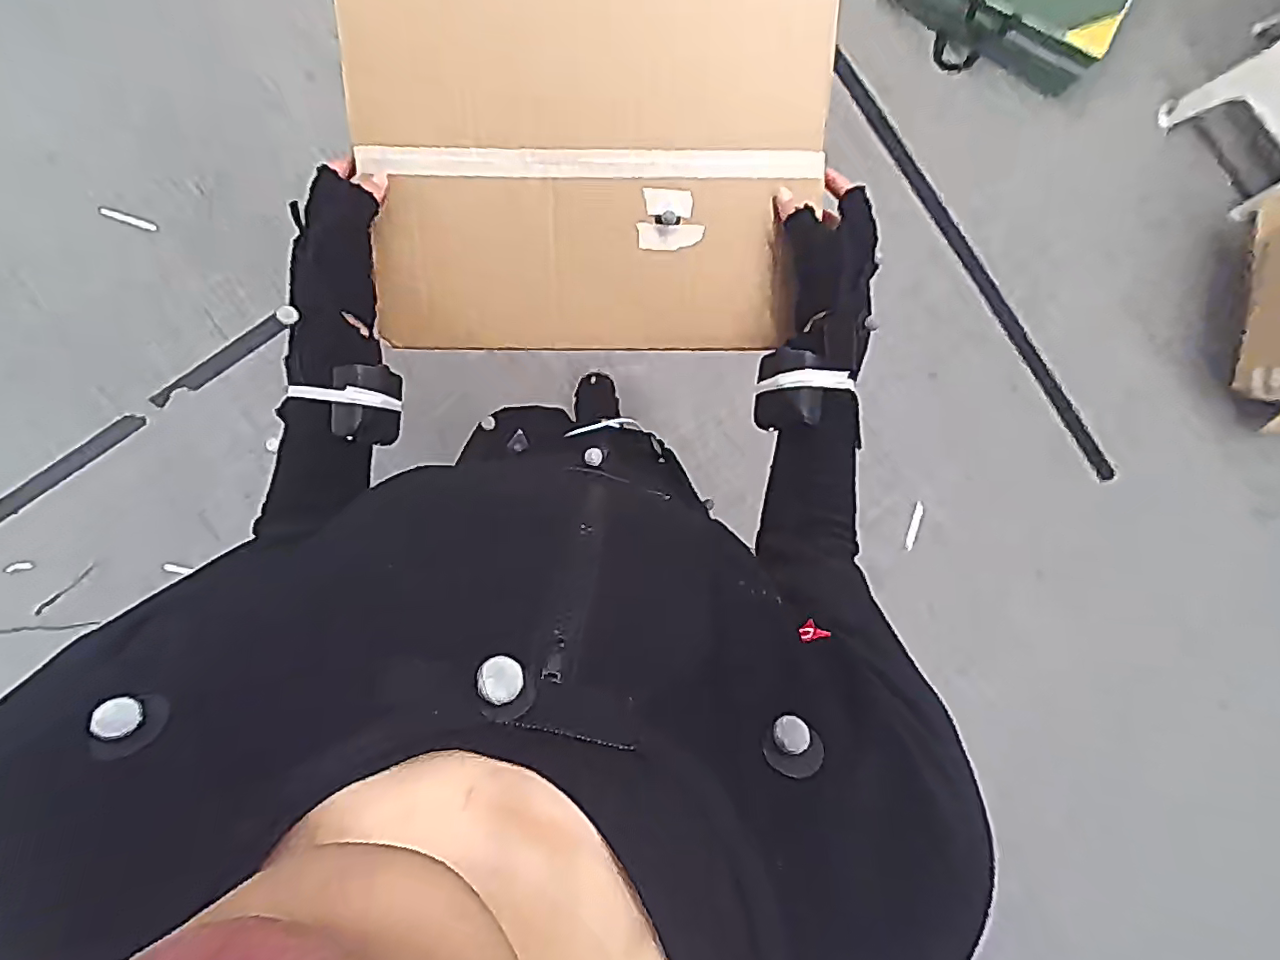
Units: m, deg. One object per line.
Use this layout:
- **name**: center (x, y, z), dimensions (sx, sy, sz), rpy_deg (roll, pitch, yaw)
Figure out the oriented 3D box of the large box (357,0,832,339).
- **large box**: center (-0.043, -0.331, 0.626), dimensions (0.408, 0.320, 0.320), rpy_deg (0, 107, -3)
